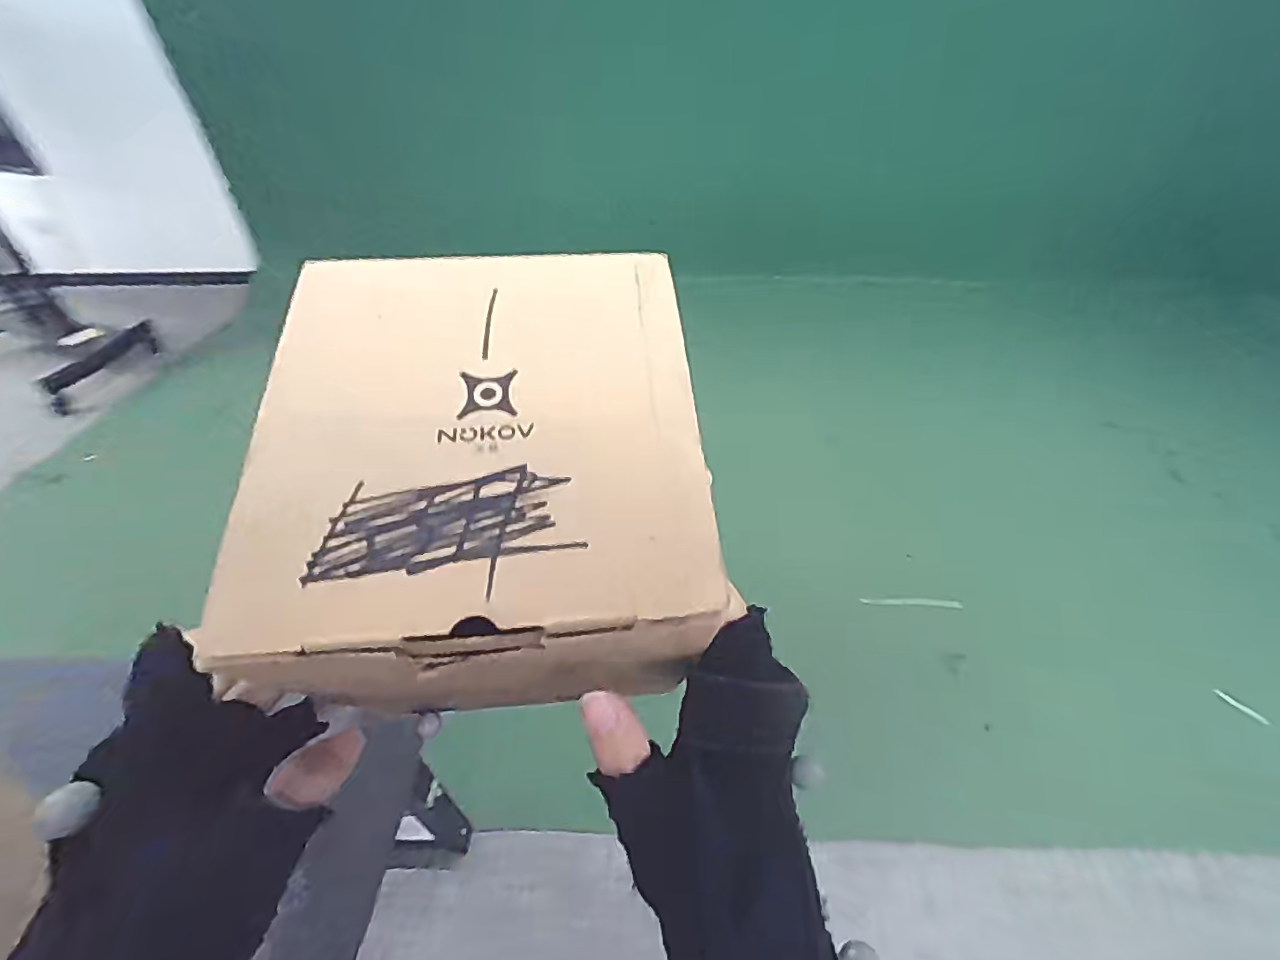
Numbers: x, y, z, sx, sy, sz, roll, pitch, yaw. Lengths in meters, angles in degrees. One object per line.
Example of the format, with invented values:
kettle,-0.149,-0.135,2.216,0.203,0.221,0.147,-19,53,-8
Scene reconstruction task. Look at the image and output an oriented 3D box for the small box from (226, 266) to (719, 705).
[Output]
small box,-0.059,0.017,0.285,0.168,0.176,0.179,-3,61,-3
